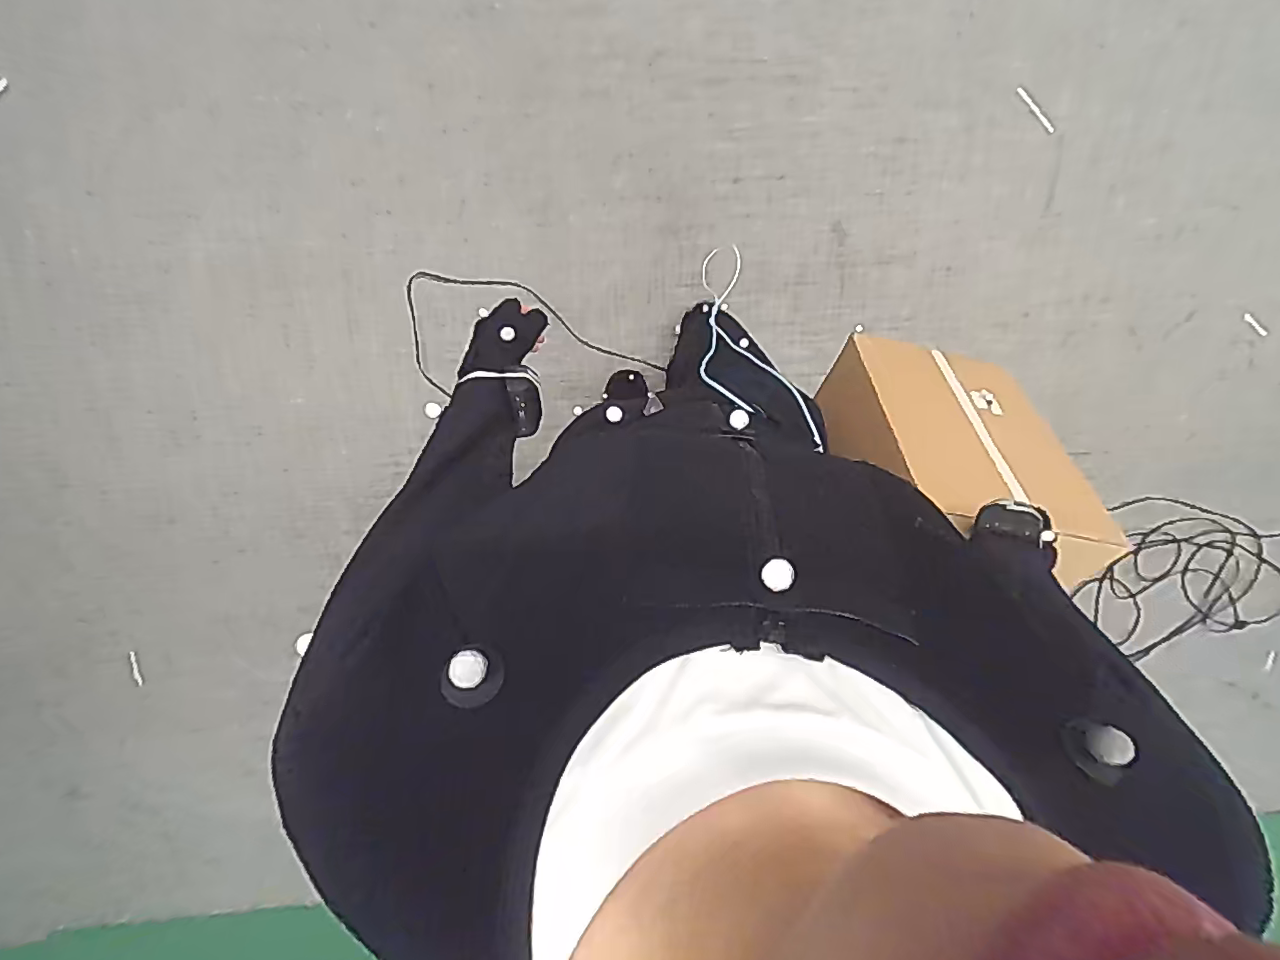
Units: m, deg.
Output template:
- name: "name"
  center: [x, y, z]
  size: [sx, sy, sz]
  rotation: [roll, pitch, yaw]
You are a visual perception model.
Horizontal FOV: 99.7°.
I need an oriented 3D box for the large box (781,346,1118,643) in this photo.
- name: "large box"
  center: [0.480, 0.029, 0.957]
  size: [0.320, 0.408, 0.320]
  rotation: [10, 136, -9]
